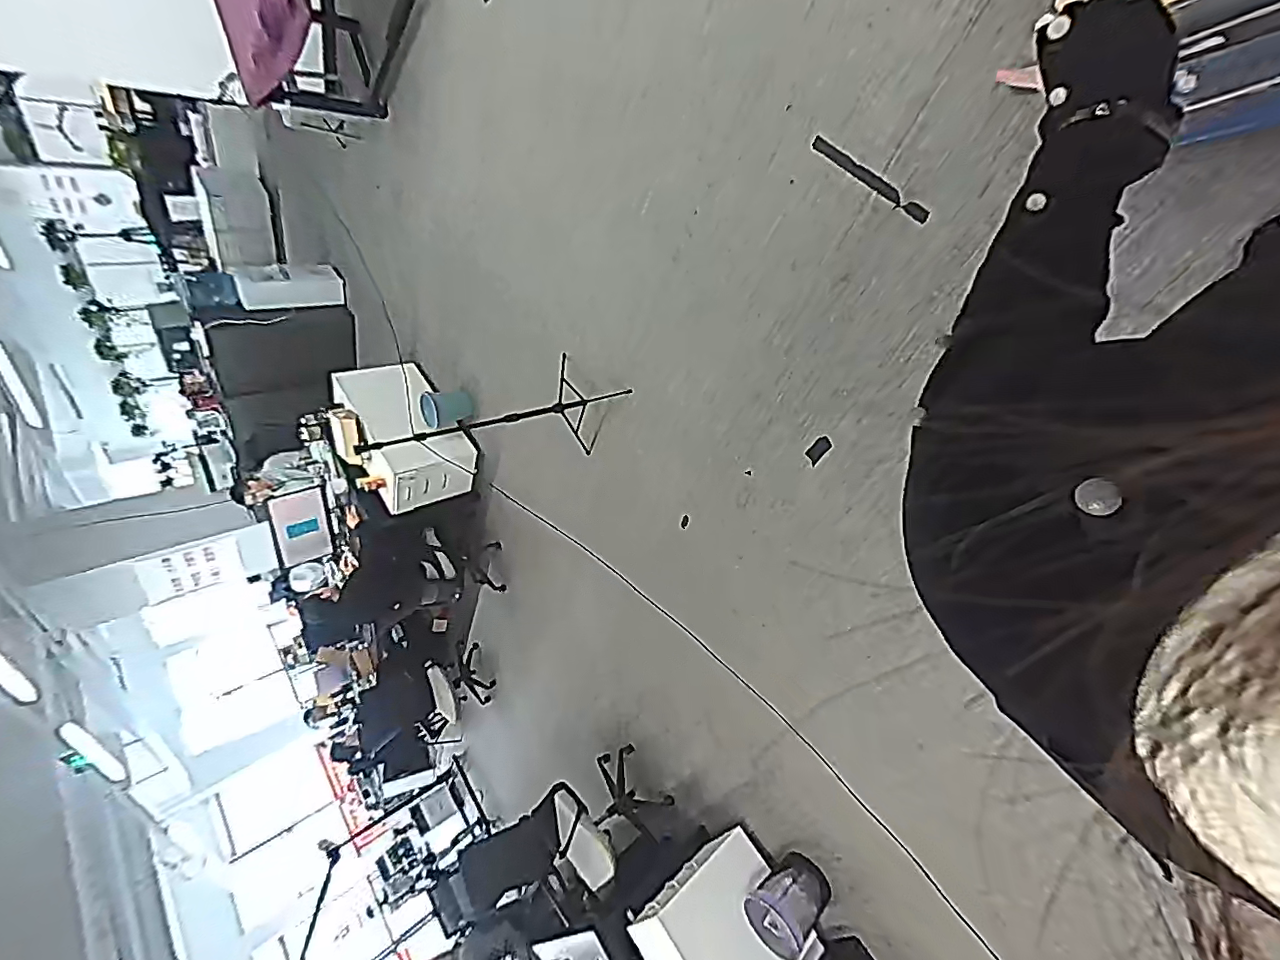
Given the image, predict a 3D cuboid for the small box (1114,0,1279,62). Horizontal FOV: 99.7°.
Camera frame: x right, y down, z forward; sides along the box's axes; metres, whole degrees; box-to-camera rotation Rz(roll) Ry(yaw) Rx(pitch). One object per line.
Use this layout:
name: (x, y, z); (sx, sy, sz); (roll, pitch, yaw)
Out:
small box: (0.800, -0.739, 0.773); (0.168, 0.176, 0.179); (1, 107, 49)
